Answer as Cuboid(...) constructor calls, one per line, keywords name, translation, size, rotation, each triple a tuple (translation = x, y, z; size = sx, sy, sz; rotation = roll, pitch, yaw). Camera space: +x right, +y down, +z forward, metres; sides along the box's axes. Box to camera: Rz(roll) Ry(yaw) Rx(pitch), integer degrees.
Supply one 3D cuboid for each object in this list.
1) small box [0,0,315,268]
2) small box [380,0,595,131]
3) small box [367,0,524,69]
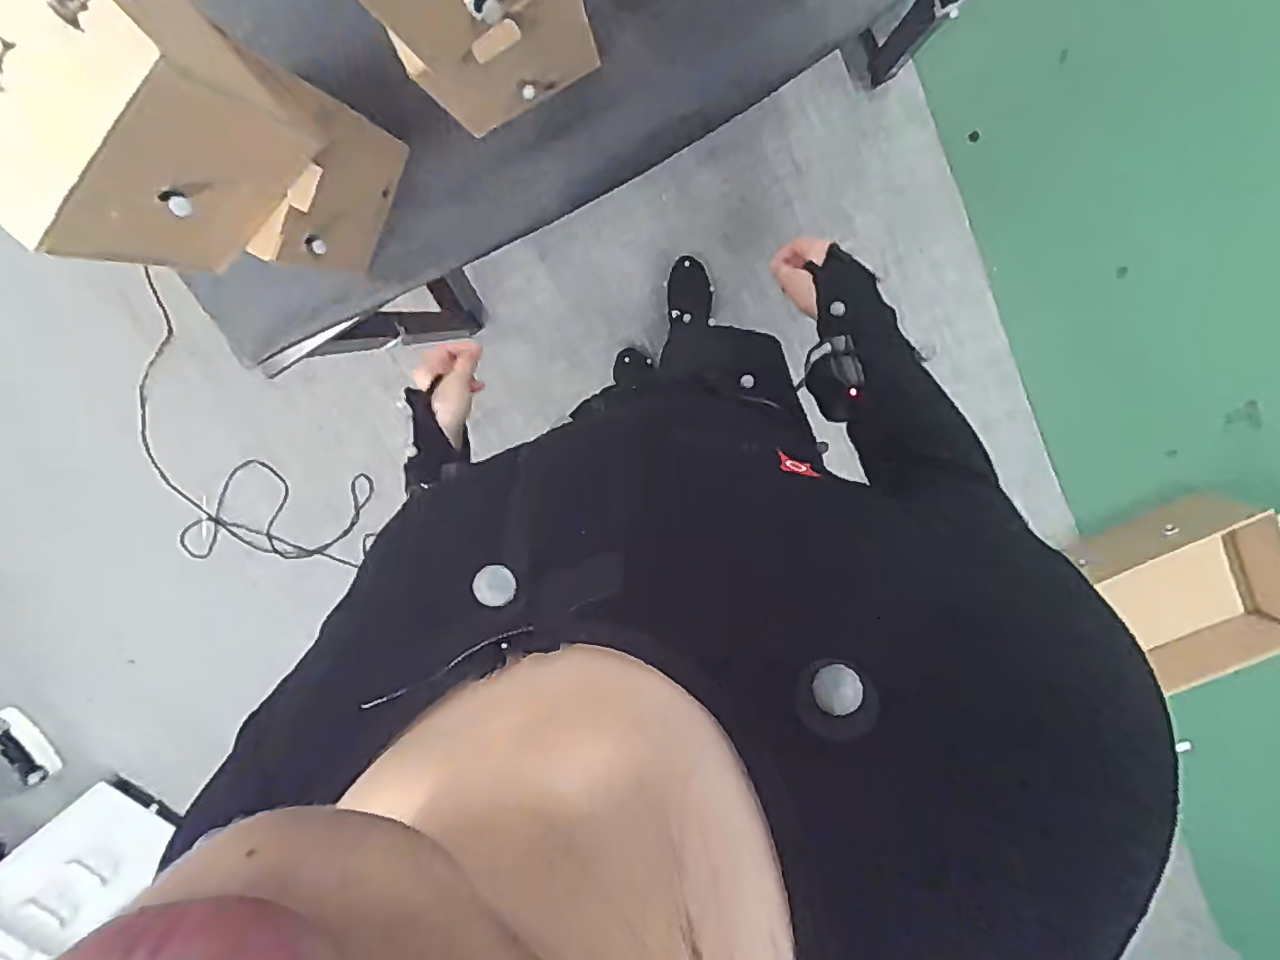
Cuboid(name="small box", translation=(-0.408, -0.292, 0.427), size=(0.179, 0.176, 0.168), rotation=(-41, 100, 15))
Cuboid(name="small box", translation=(-0.161, -0.487, 0.523), size=(0.168, 0.176, 0.179), rotation=(-24, 103, 11))
Cuboid(name="small box", translation=(-0.168, -0.441, 0.367), size=(0.168, 0.176, 0.179), rotation=(-35, 101, 14))
